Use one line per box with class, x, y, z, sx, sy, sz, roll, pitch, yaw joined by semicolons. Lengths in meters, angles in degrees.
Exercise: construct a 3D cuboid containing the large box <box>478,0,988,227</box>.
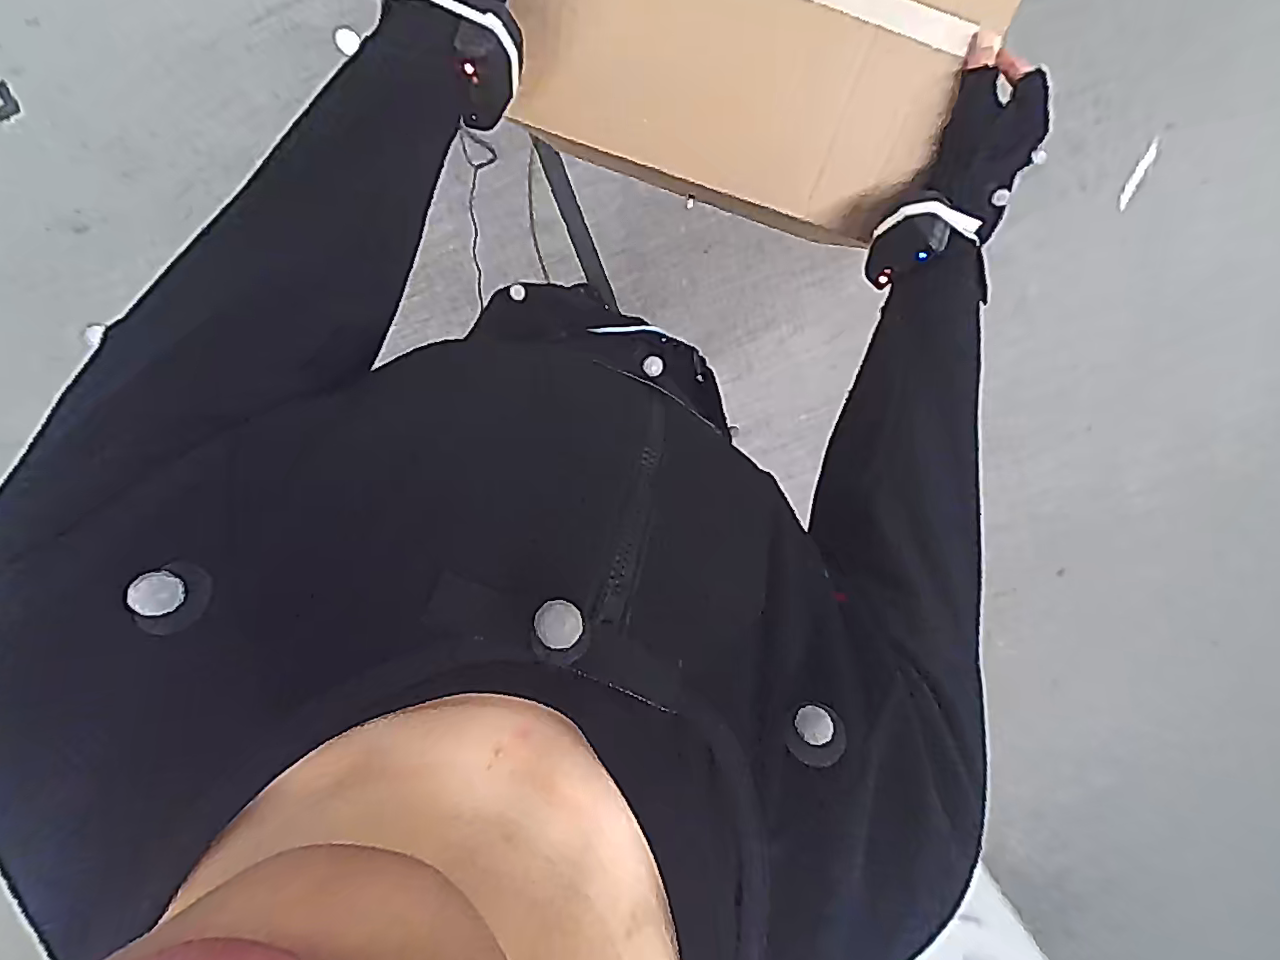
large box;0.097;-0.484;0.567;0.408;0.320;0.320;17;114;-3
